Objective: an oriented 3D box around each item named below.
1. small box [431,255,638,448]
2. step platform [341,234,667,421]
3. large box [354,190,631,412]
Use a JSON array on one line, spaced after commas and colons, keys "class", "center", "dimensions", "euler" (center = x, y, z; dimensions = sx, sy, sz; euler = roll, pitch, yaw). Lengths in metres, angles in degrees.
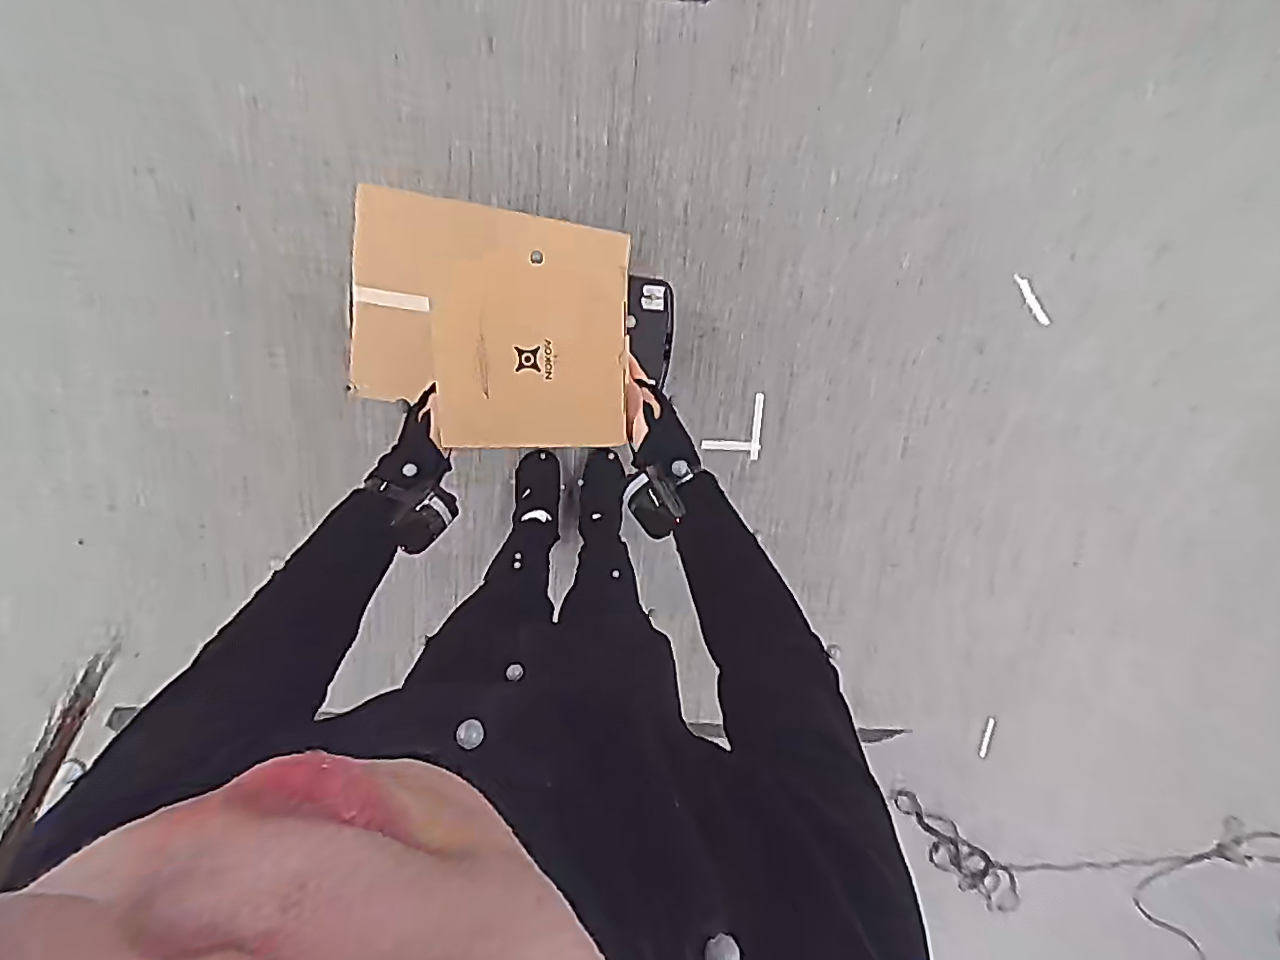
[{"class": "small box", "center": [-0.100, -0.130, 0.554], "dimensions": [0.179, 0.176, 0.168], "euler": [0, 105, -6]}, {"class": "step platform", "center": [-0.283, -0.328, 1.207], "dimensions": [0.684, 0.204, 0.286], "euler": [10, 102, -7]}, {"class": "large box", "center": [-0.239, -0.283, 0.976], "dimensions": [0.408, 0.320, 0.320], "euler": [8, 102, -6]}]
